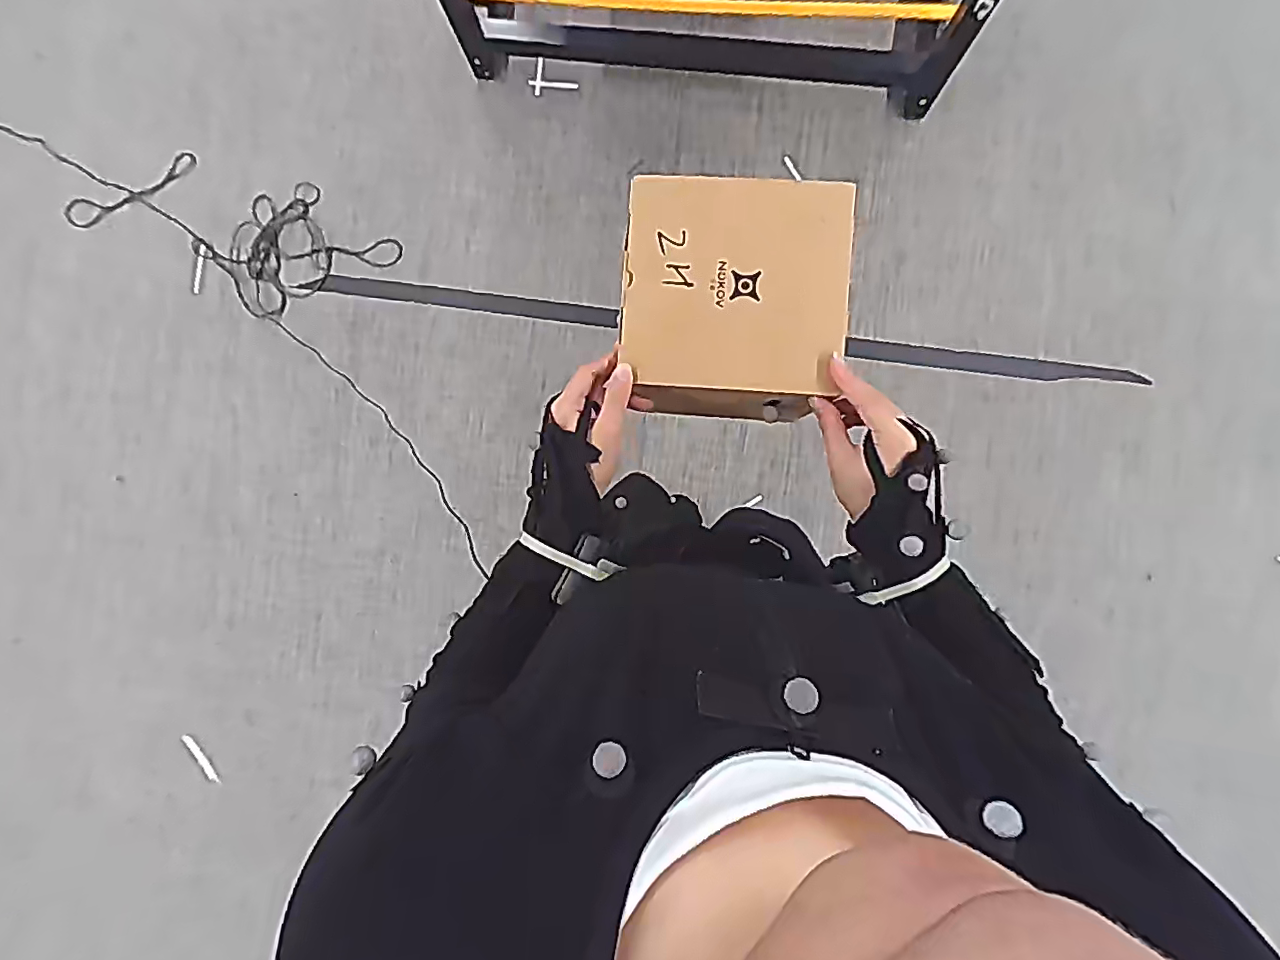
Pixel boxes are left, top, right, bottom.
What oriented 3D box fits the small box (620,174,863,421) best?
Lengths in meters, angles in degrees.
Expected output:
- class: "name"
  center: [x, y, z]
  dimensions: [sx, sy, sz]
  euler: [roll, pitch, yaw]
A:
- class: "small box"
  center: [0.083, -0.149, 0.496]
  dimensions: [0.179, 0.176, 0.168]
  euler: [5, 89, 4]
